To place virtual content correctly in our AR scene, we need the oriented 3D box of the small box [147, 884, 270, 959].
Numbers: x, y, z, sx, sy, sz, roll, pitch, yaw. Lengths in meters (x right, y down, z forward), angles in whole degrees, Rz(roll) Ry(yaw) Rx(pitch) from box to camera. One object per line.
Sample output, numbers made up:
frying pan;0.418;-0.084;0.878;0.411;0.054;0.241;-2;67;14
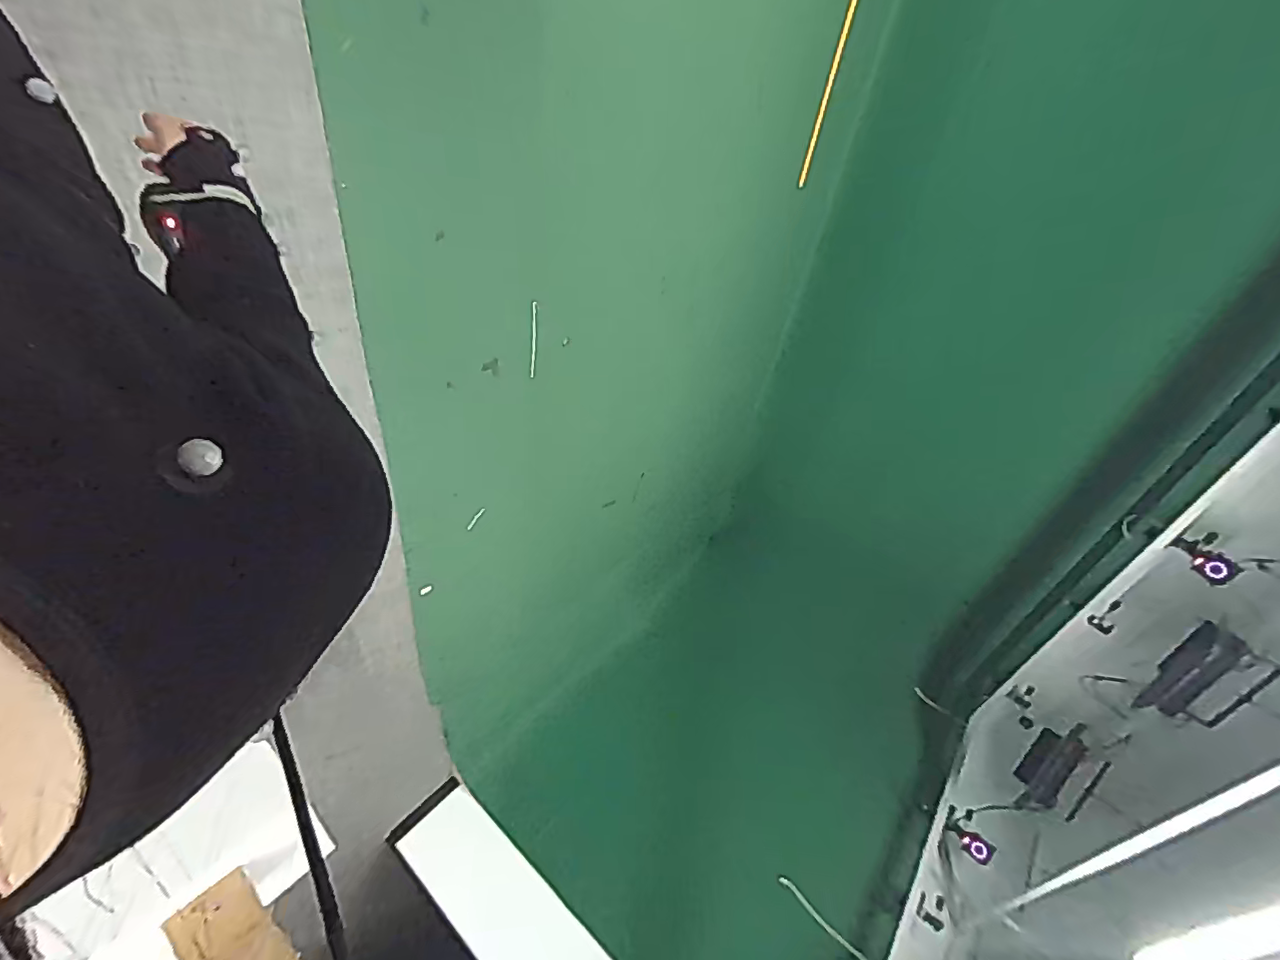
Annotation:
small box;-1.037;1.132;1.306;0.168;0.176;0.179;-31;145;-44
